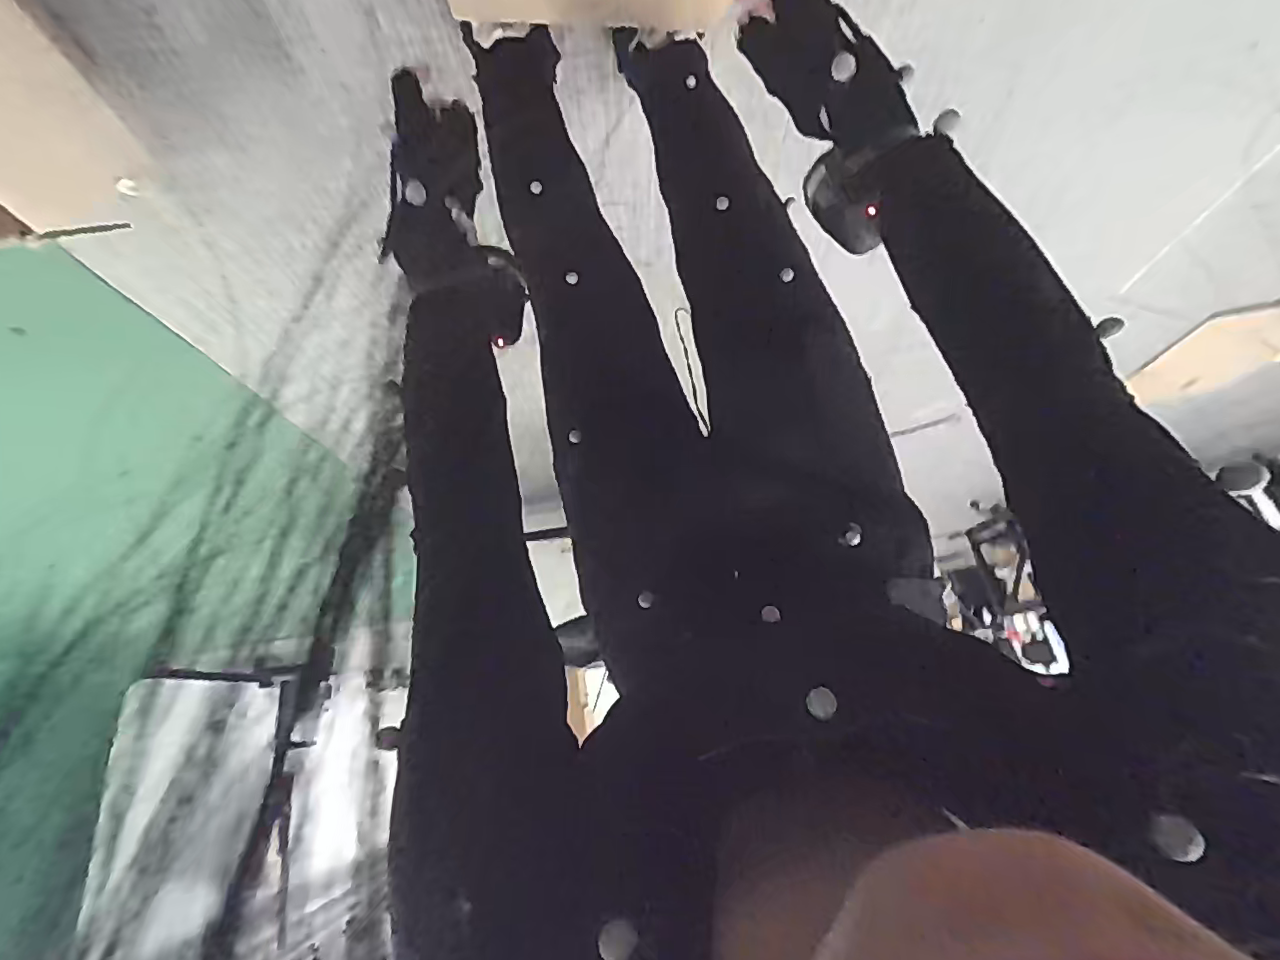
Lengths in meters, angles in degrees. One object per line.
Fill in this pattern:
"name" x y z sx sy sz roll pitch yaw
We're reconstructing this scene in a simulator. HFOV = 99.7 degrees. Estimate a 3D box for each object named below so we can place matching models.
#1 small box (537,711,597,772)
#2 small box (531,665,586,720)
"small box" -0.264 0.938 1.959 0.179 0.176 0.168 -10 158 1
"small box" -0.300 0.788 2.011 0.168 0.176 0.179 -10 157 -1
